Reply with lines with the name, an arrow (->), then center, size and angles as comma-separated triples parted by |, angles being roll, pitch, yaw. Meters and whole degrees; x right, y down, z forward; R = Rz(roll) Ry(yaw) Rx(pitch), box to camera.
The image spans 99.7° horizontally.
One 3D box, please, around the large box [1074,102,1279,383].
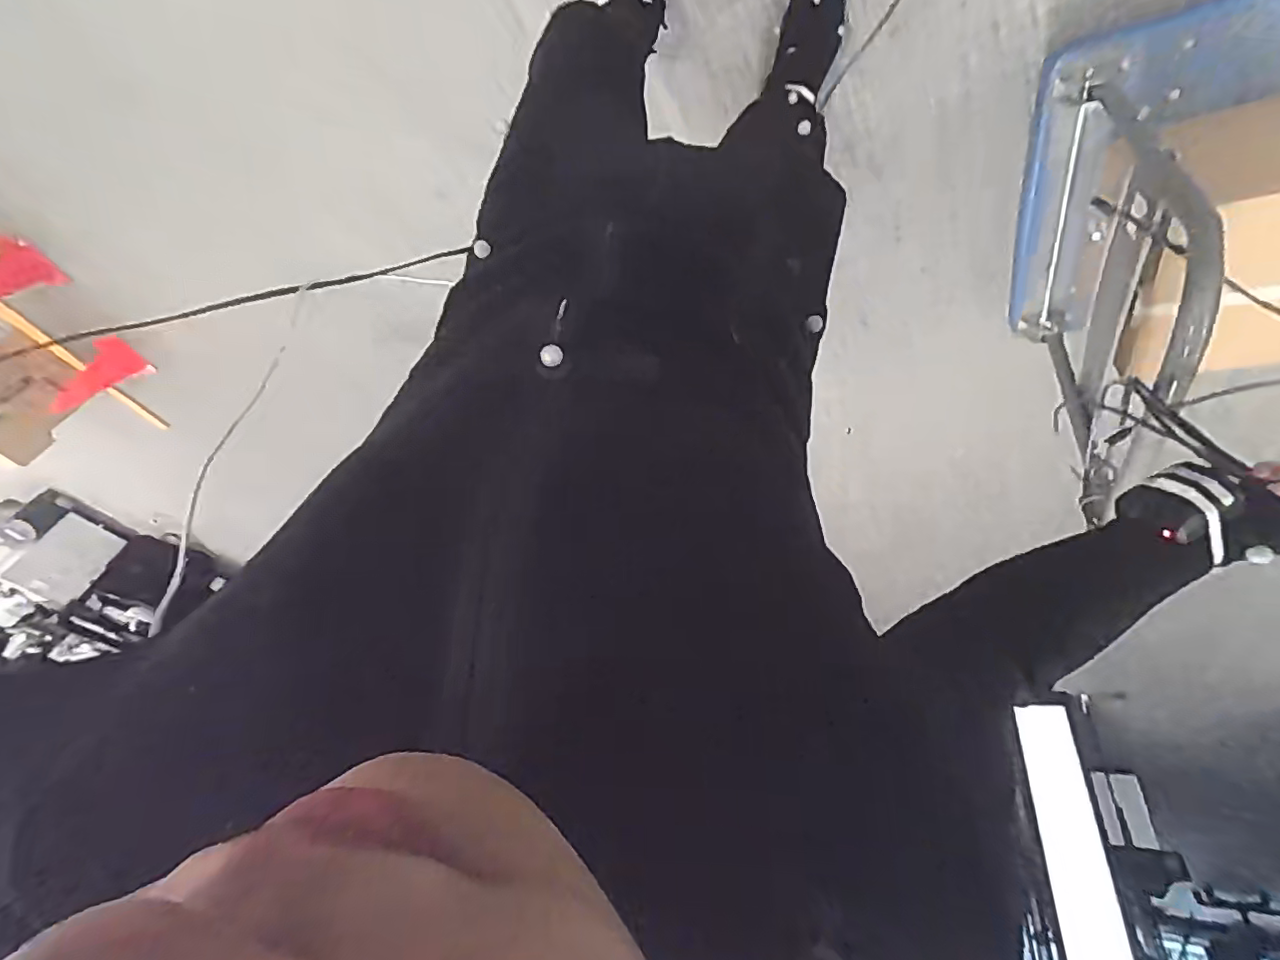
large box -> 1.026, -0.402, 0.895 | 0.408, 0.320, 0.320 | -5, 138, 24
